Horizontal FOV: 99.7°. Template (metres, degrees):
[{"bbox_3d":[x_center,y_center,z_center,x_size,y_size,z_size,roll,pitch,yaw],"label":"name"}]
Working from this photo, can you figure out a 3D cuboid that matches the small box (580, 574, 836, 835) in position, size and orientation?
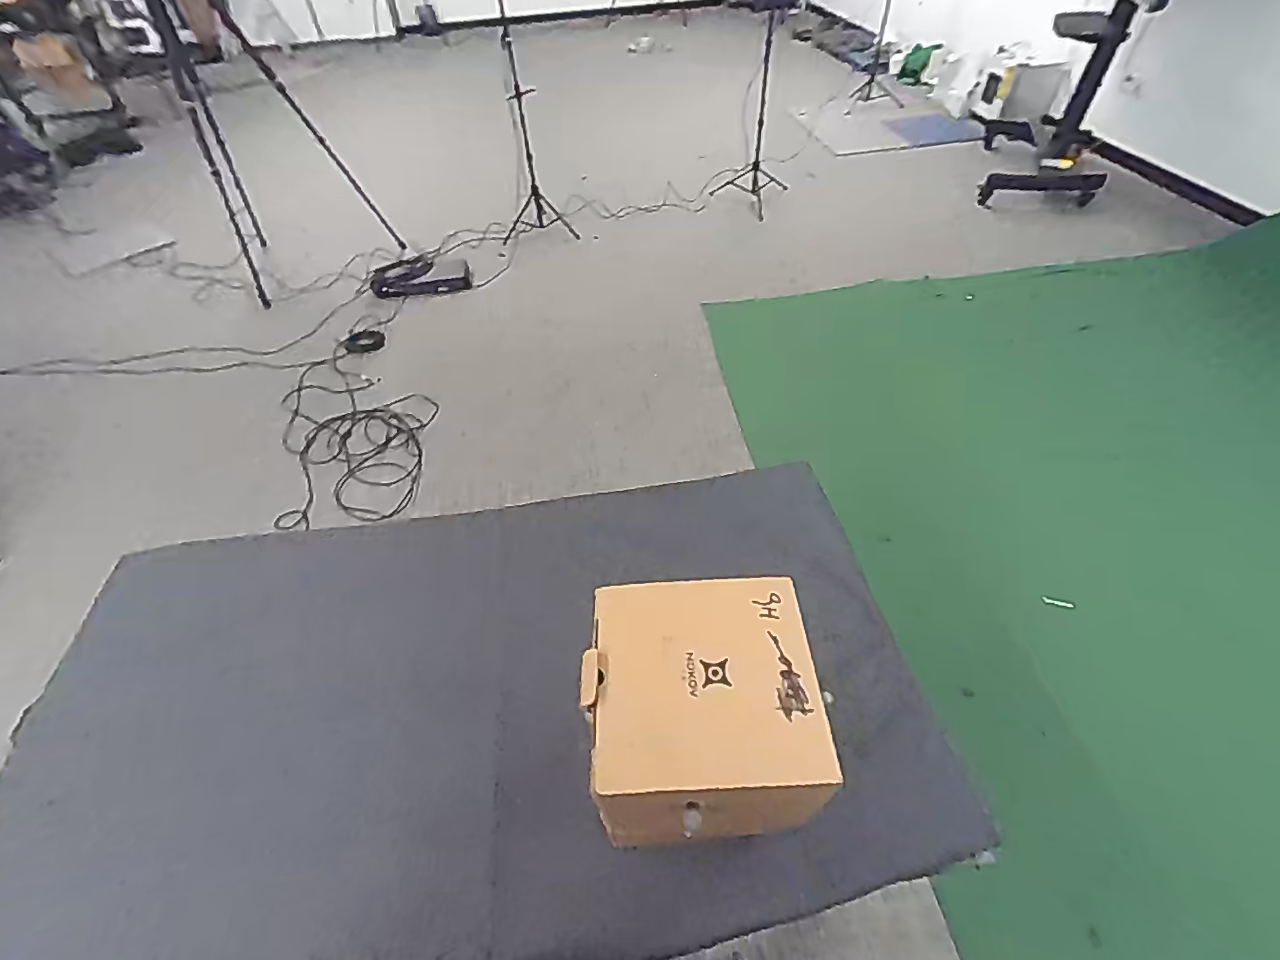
[{"bbox_3d":[0.049,0.200,0.473,0.179,0.176,0.168,-3,49,1],"label":"small box"}]
